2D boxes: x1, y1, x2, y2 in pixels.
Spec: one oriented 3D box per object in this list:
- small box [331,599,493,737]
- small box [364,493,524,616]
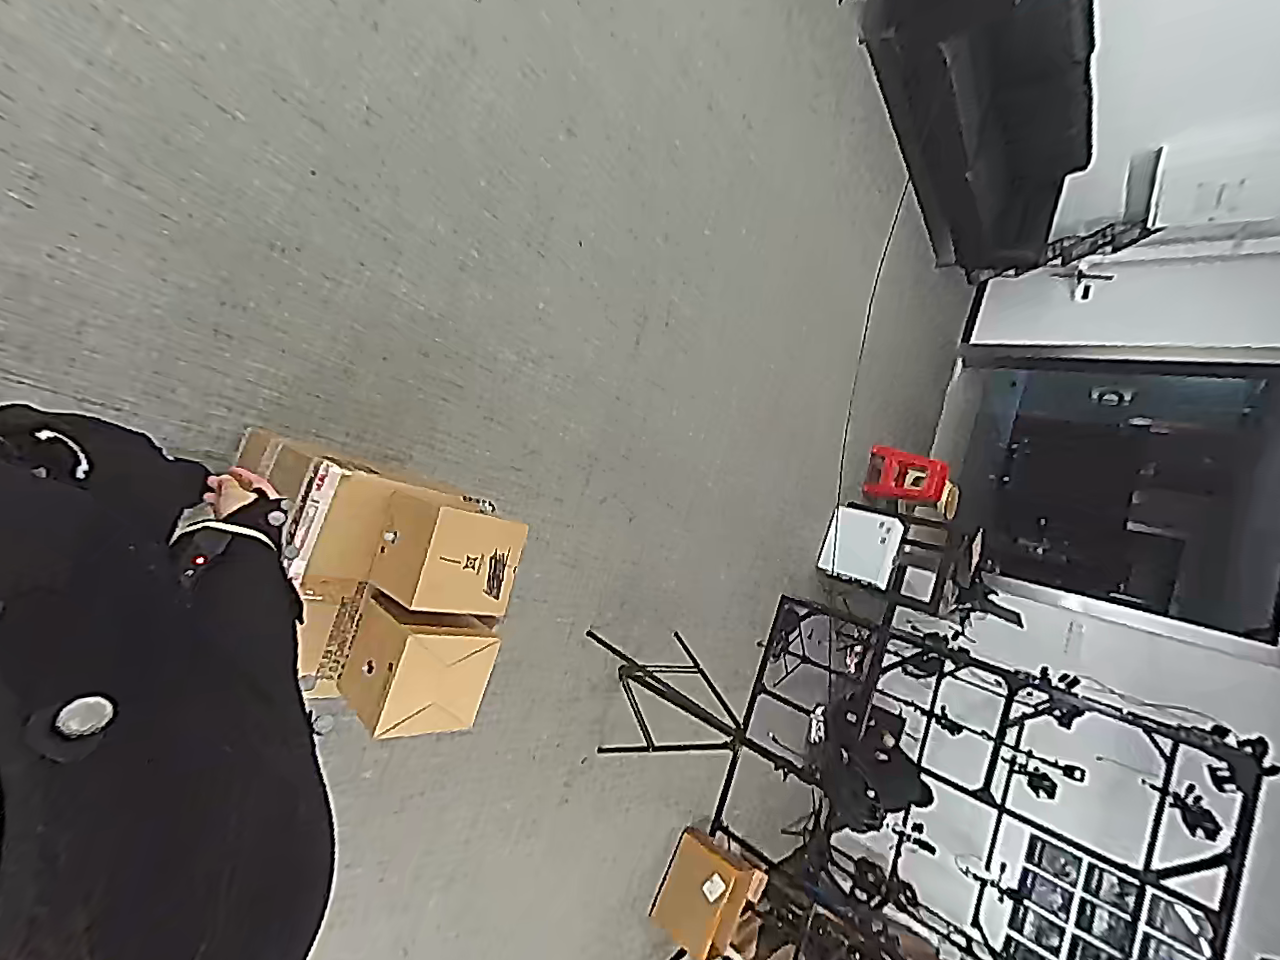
[{"bbox_3d":[-0.387,0.316,0.927,0.179,0.176,0.168,22,86,-48],"label":"small box"},{"bbox_3d":[-0.338,0.126,0.934,0.179,0.176,0.168,22,81,-48],"label":"small box"}]
